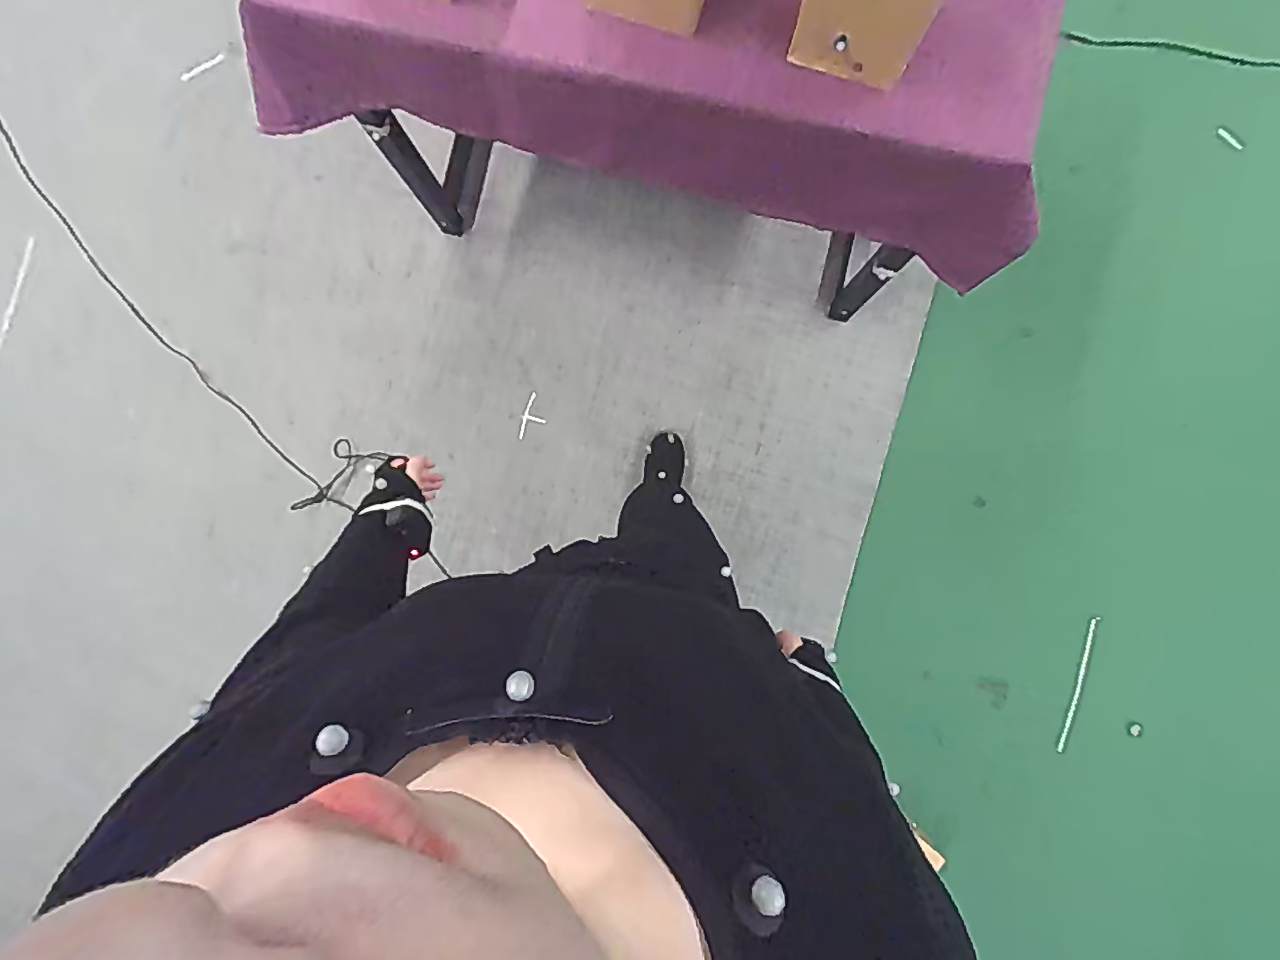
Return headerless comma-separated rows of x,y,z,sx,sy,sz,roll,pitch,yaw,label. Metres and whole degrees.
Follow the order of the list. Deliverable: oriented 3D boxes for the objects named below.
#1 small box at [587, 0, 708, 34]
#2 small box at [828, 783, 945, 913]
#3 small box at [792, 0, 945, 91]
0.020,-0.763,0.735,0.179,0.176,0.168,18,87,3,small box
0.612,0.916,1.365,0.179,0.176,0.168,41,88,3,small box
0.321,-0.684,0.727,0.168,0.176,0.179,19,88,2,small box
